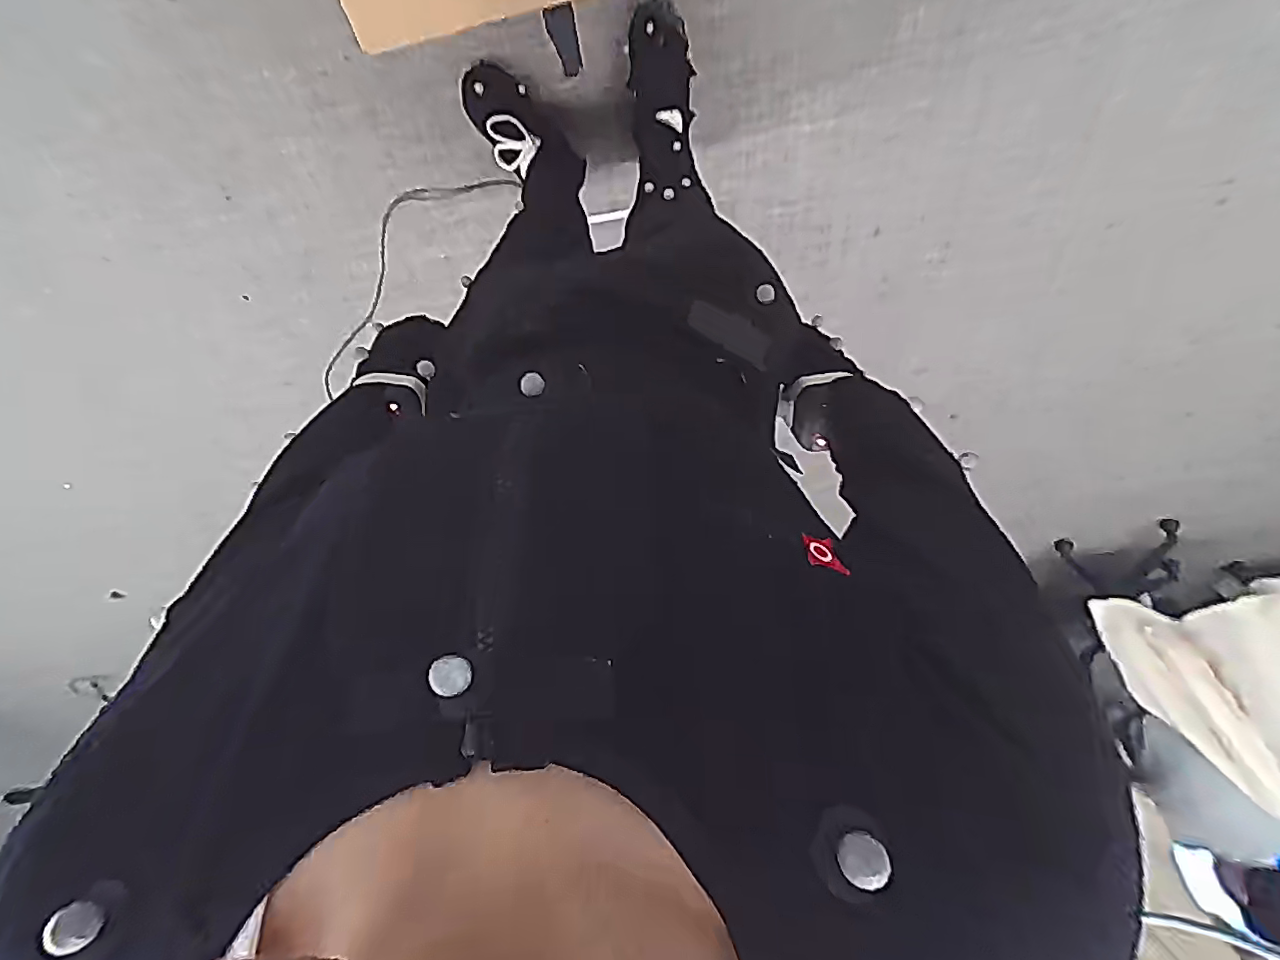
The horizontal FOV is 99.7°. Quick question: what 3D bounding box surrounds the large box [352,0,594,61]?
[{"bbox_3d":[-0.188,-0.792,0.673,0.408,0.320,0.320,-10,139,7],"label":"large box"}]
